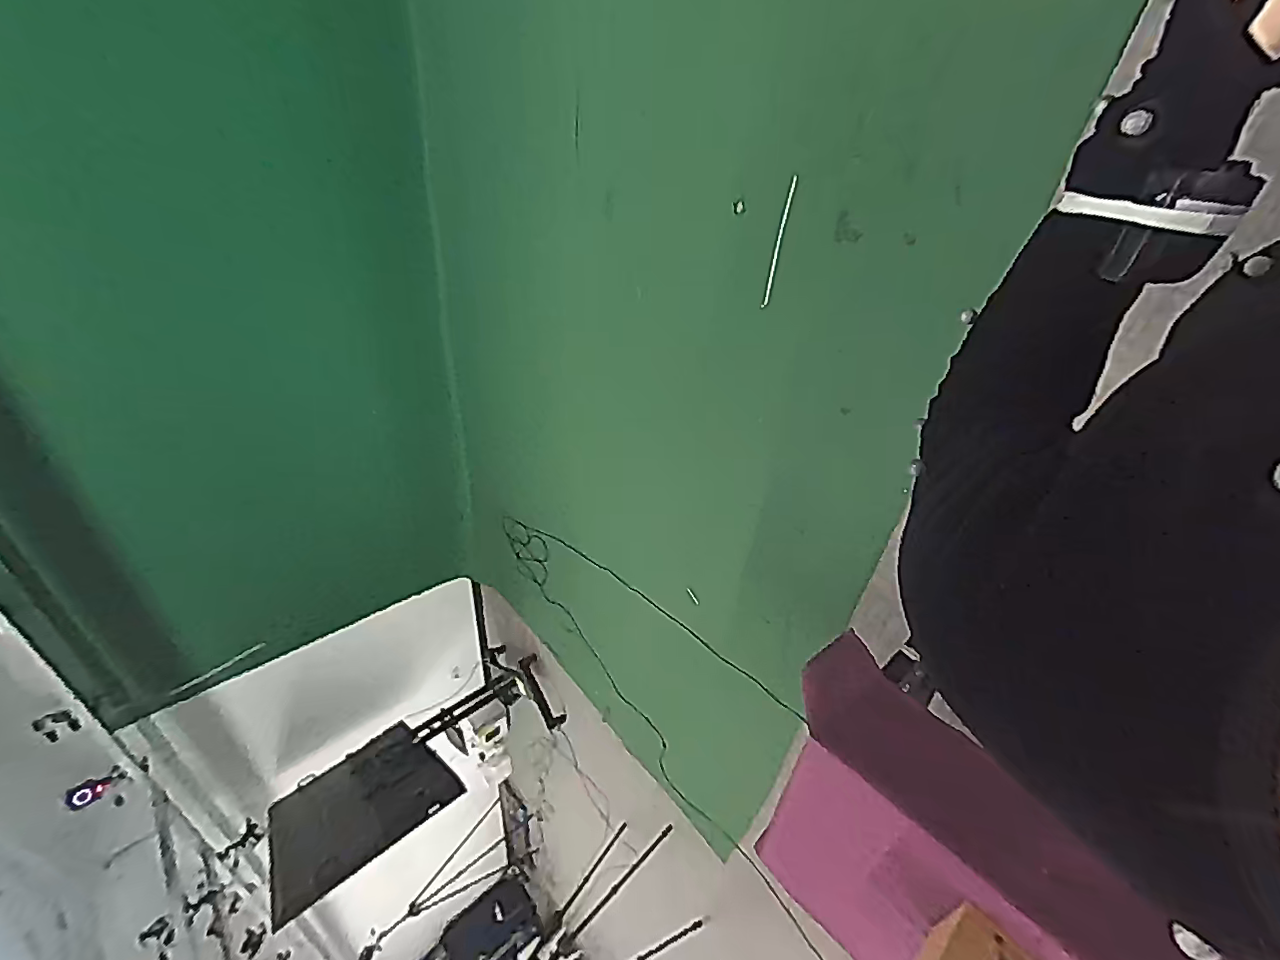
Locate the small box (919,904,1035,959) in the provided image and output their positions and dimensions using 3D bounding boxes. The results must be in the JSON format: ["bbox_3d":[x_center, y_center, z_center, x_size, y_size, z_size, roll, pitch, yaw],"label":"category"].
[{"bbox_3d":[0.598,0.912,0.955,0.168,0.176,0.179,35,135,35],"label":"small box"}]
